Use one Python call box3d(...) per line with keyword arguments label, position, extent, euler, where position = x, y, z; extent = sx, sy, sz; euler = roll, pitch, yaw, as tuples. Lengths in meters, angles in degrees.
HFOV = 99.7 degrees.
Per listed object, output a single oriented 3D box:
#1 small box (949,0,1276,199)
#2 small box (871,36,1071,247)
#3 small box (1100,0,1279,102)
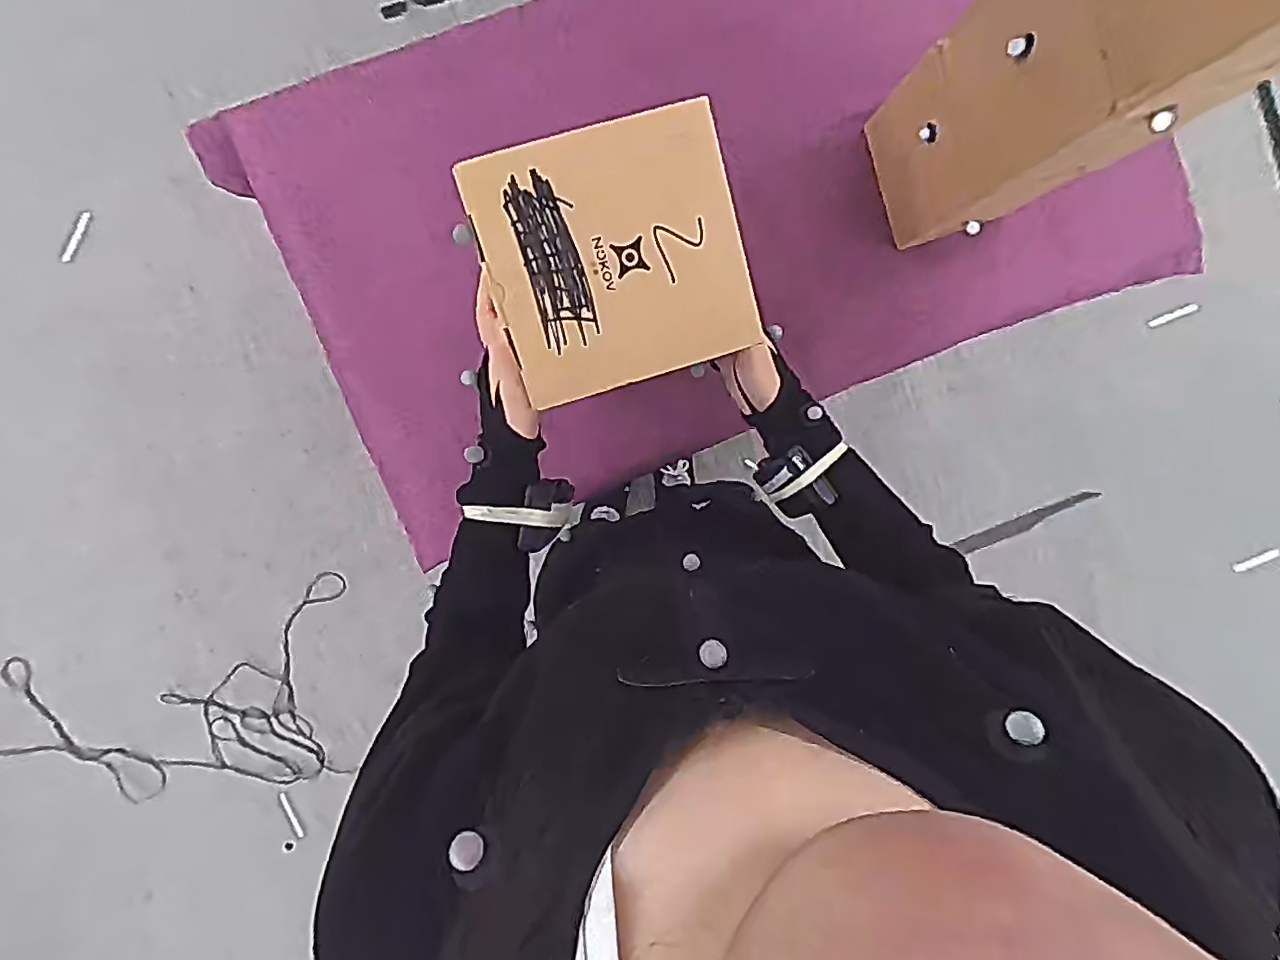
box3d(label="small box", position=(0.430, -0.406, 0.512), extent=(0.168, 0.176, 0.179), euler=(-17, 95, -2))
box3d(label="small box", position=(0.418, -0.424, 0.674), extent=(0.168, 0.176, 0.179), euler=(-19, 96, -1))
box3d(label="small box", position=(0.443, -0.386, 0.350), extent=(0.168, 0.176, 0.179), euler=(-17, 95, -2))
